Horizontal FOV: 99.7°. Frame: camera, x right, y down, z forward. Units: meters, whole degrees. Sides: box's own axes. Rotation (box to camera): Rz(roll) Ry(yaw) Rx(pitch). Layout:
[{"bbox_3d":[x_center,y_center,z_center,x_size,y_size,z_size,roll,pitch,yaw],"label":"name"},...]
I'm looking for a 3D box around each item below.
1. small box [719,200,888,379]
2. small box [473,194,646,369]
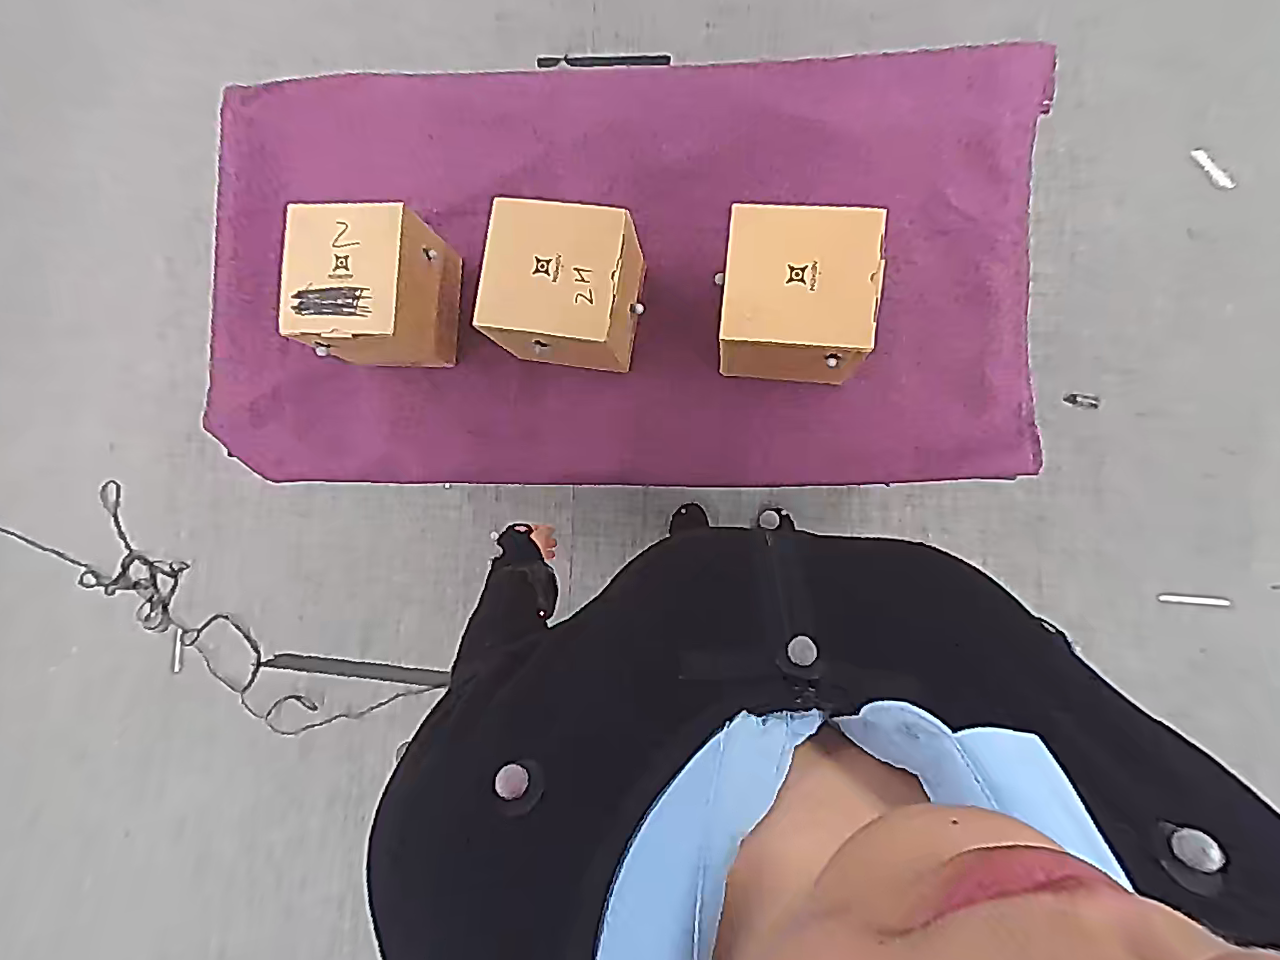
[{"bbox_3d":[0.197,-0.234,0.698,0.179,0.176,0.168,6,87,8],"label":"small box"},{"bbox_3d":[-0.099,-0.258,0.737,0.179,0.176,0.168,10,90,7],"label":"small box"}]
